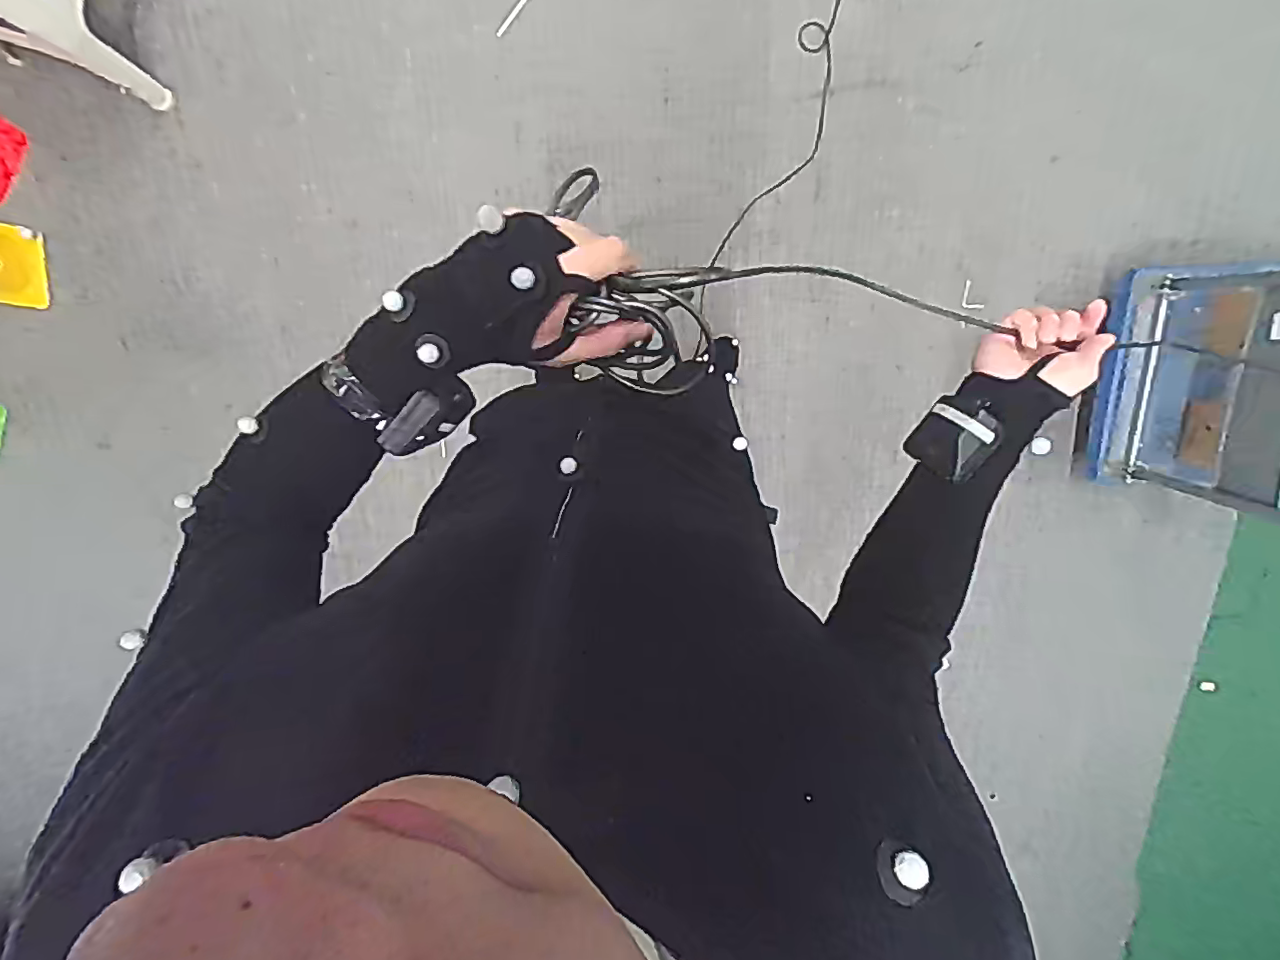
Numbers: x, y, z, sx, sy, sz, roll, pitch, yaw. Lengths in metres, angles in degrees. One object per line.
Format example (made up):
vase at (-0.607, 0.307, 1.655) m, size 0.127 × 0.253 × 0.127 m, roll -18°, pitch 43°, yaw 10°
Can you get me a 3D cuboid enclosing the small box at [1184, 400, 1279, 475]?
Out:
small box at (1.576, -0.114, 1.386) m, size 0.179 × 0.176 × 0.168 m, roll -2°, pitch 105°, yaw 0°
